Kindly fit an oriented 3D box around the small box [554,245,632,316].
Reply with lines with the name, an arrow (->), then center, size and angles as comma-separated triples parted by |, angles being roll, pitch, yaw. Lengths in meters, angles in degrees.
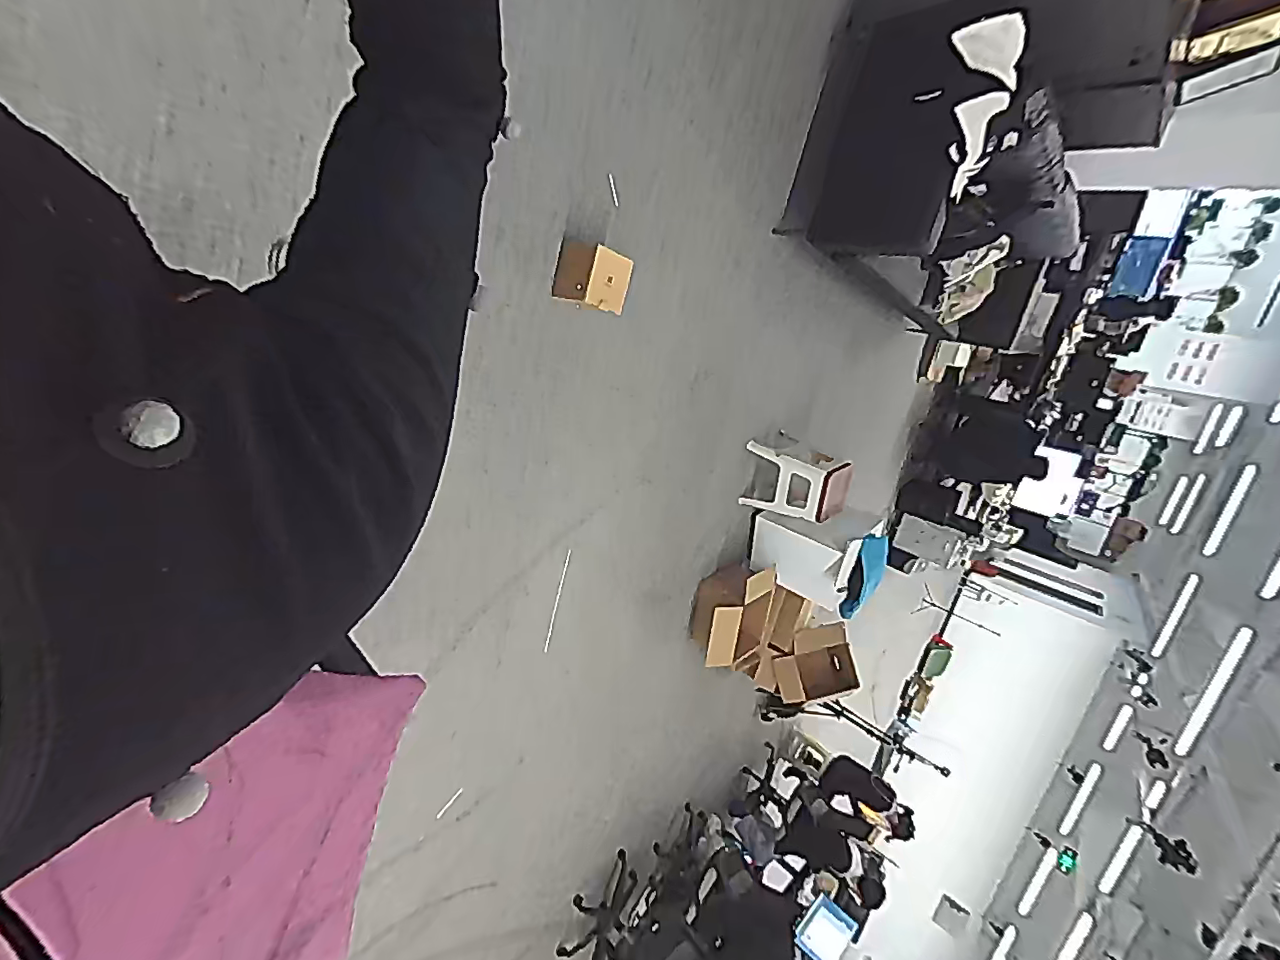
small box -> -0.155, -0.646, 1.747 | 0.168, 0.176, 0.179 | 1, 108, -49
